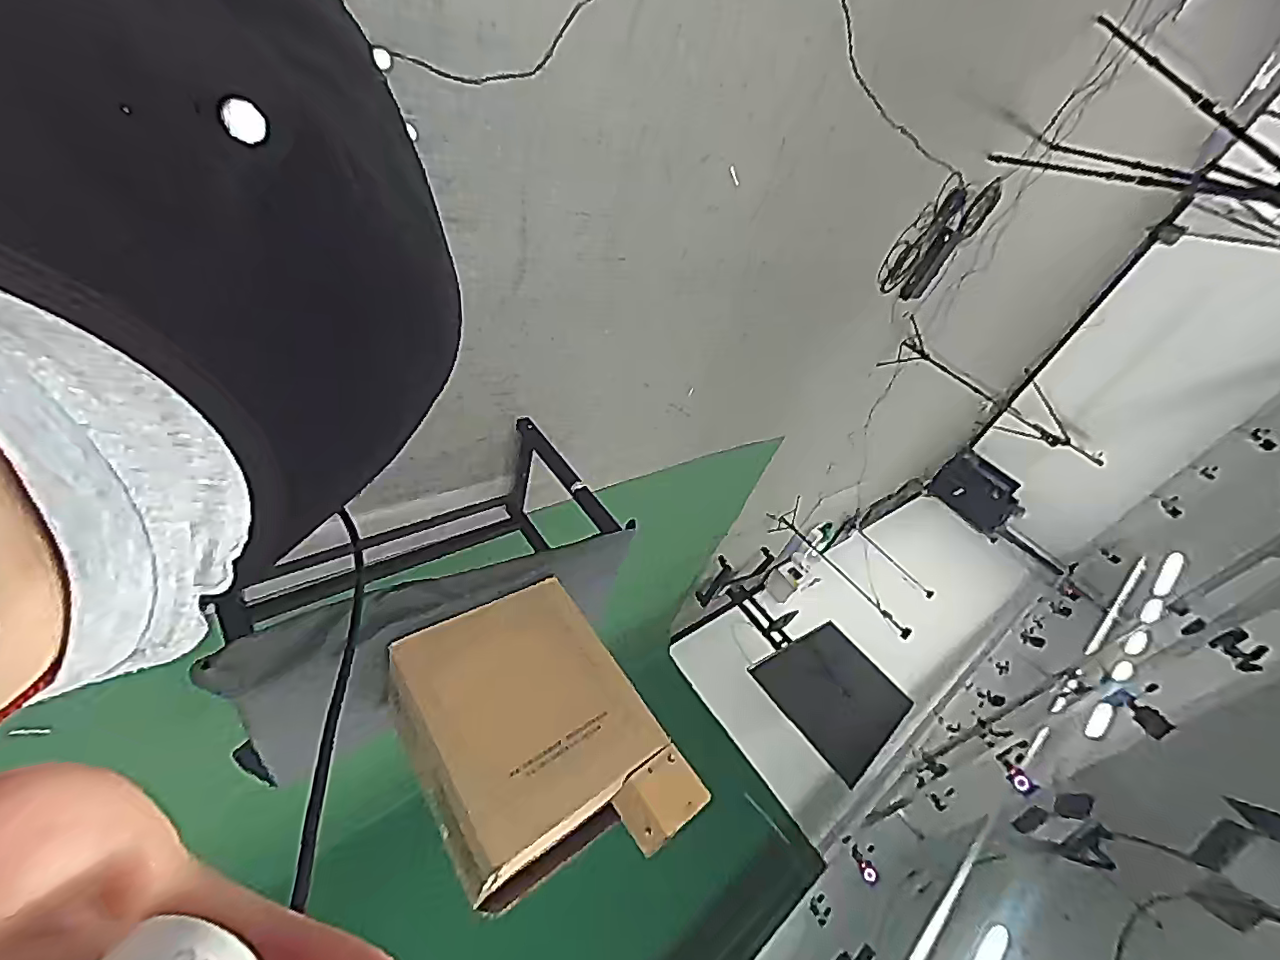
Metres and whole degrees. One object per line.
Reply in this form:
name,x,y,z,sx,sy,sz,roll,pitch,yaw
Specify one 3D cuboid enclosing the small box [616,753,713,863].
small box,0.058,0.873,1.454,0.168,0.176,0.179,-17,143,-40
